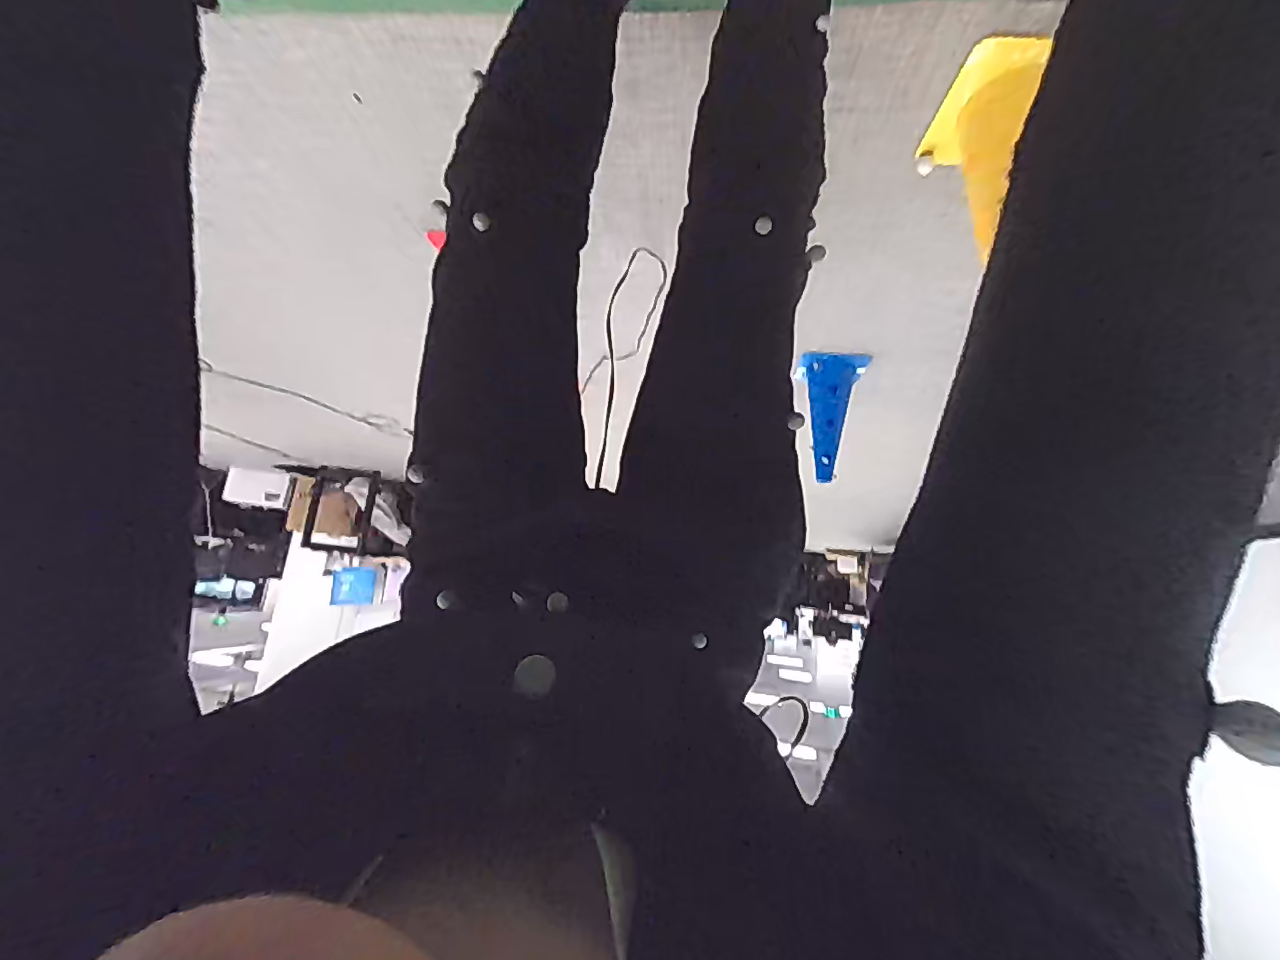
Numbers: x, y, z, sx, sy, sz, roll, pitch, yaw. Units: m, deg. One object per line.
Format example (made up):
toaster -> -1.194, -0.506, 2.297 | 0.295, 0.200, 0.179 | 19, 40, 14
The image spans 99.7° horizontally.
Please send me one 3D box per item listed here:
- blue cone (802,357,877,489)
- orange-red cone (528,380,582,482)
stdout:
blue cone -> 0.568, -0.163, 1.569 | 0.192, 0.380, 0.193 | 5, 169, 8
orange-red cone -> -0.352, -0.167, 2.030 | 0.199, 0.360, 0.198 | 11, 167, -11
